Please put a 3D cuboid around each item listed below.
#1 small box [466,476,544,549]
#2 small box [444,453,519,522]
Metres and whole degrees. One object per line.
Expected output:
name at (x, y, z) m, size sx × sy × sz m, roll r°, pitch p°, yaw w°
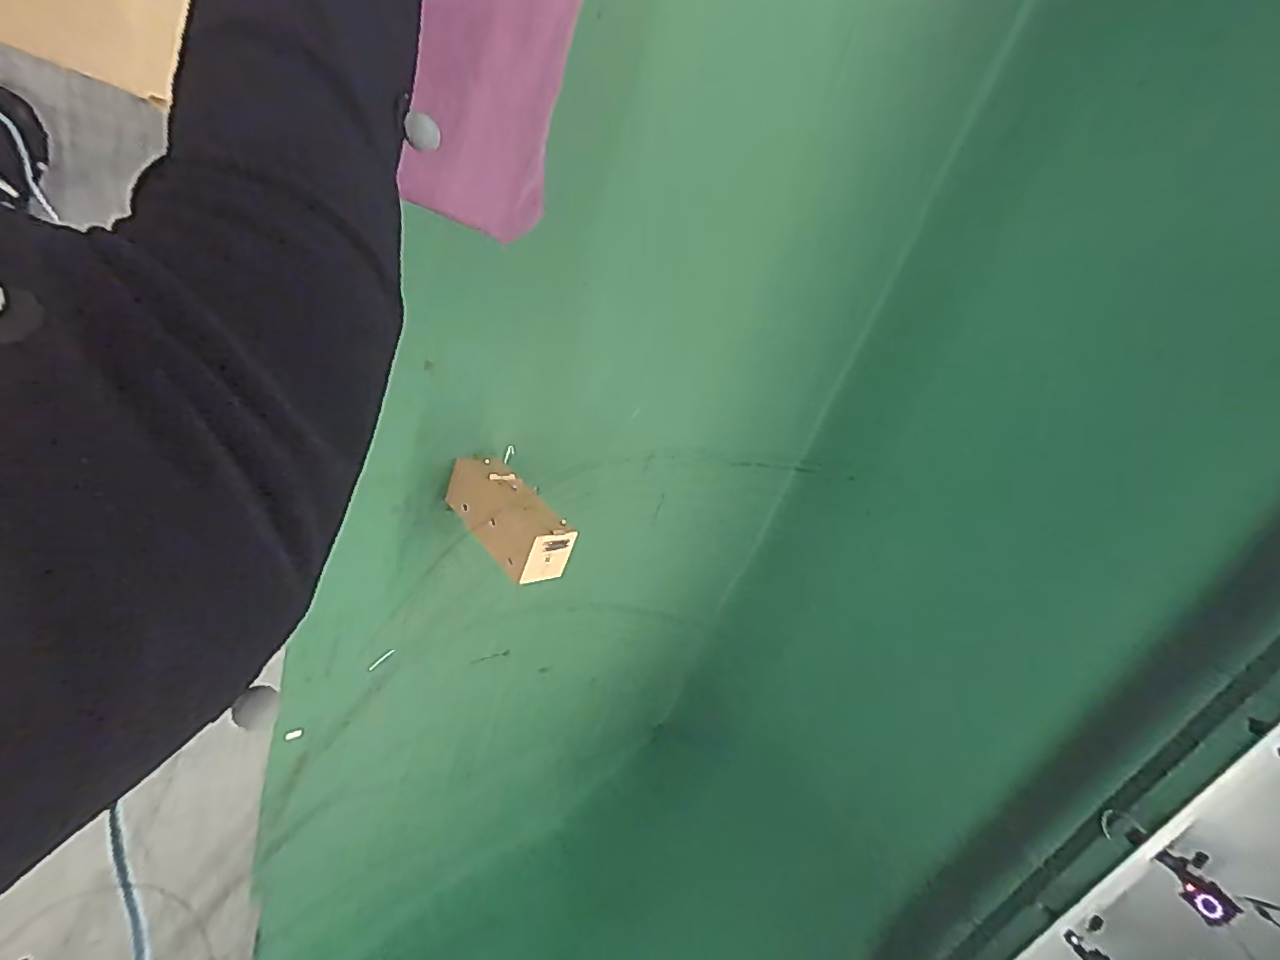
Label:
small box at (-0.449, 0.104, 1.775) m, size 0.168 × 0.176 × 0.179 m, roll -1°, pitch 121°, yaw -50°
small box at (-0.554, 0.022, 1.869) m, size 0.168 × 0.176 × 0.179 m, roll -3°, pitch 122°, yaw -50°
